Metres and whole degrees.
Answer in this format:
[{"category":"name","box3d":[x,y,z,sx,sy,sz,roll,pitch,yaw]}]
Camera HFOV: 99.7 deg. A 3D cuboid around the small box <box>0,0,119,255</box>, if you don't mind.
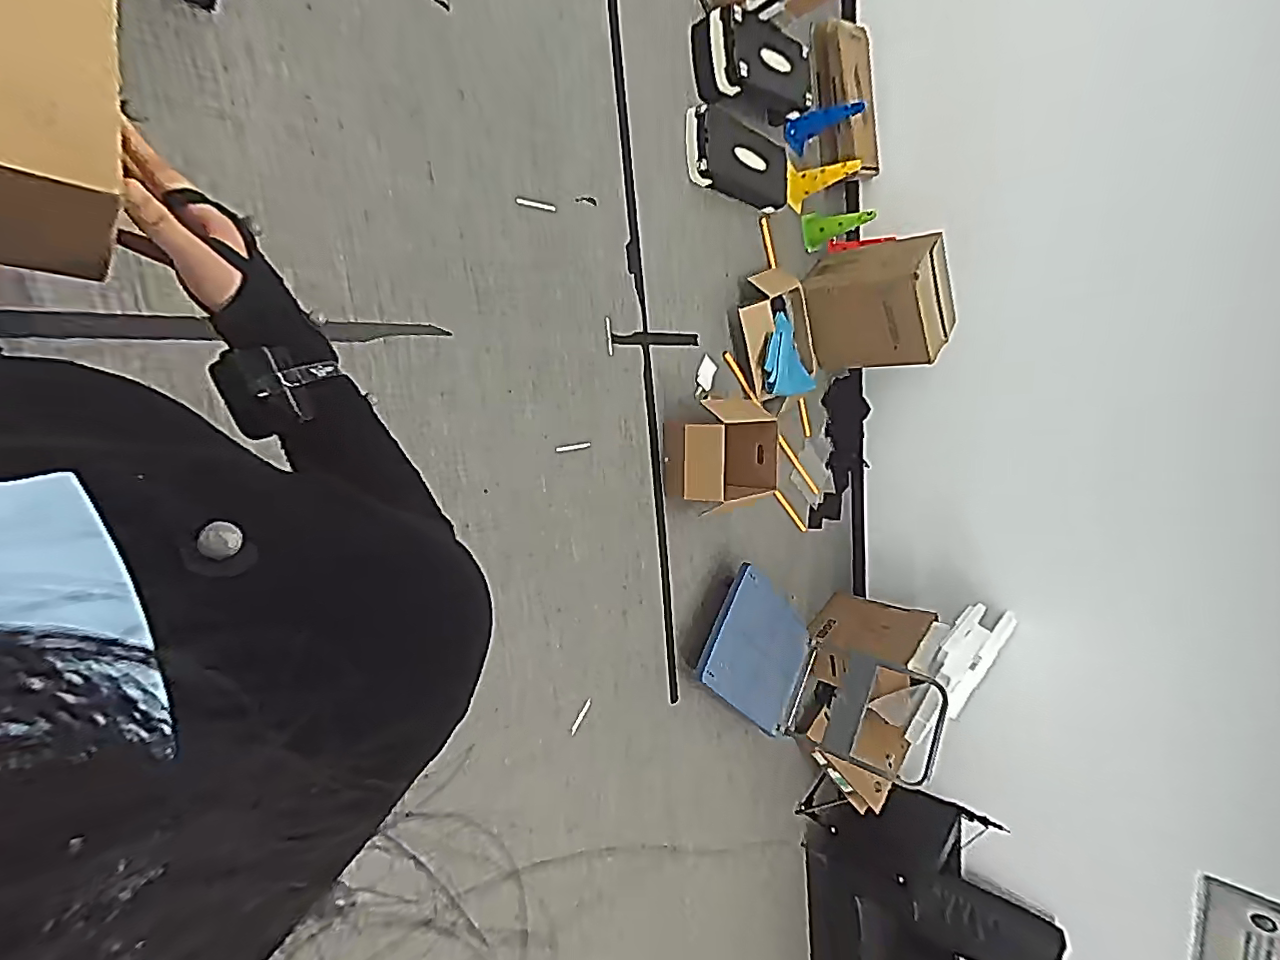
[{"category":"small box","box3d":[-0.405,-0.250,0.296,0.168,0.176,0.179,-1,88,-48]}]
